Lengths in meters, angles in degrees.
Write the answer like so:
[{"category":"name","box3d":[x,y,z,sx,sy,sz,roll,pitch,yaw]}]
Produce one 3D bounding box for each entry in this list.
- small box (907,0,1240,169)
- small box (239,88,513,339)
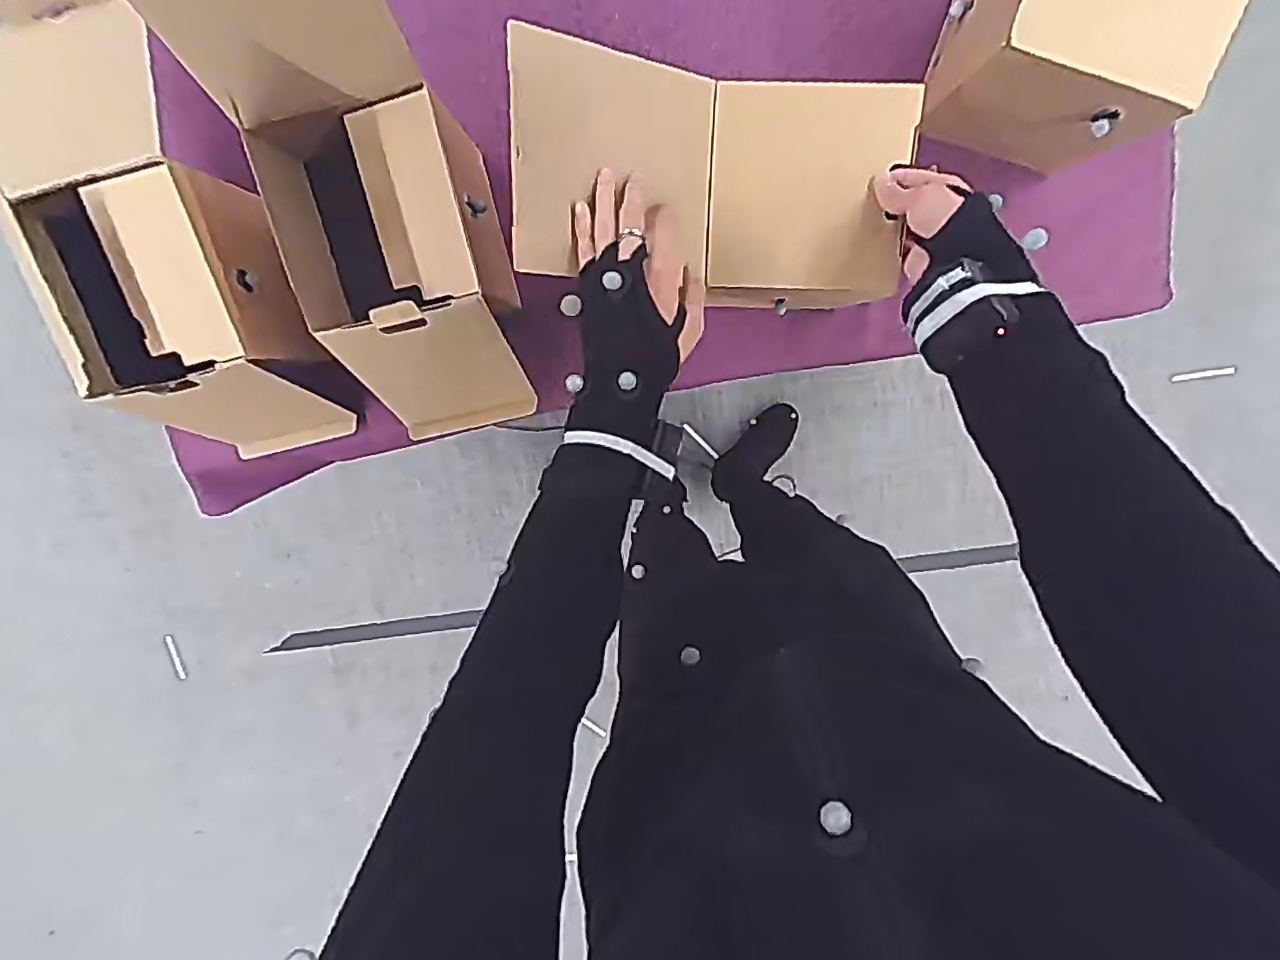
[{"category":"small box","box3d":[0.392,-0.417,0.502,0.179,0.176,0.168,16,102,-3]},{"category":"small box","box3d":[-0.242,-0.246,0.548,0.168,0.176,0.179,-12,102,2]}]
